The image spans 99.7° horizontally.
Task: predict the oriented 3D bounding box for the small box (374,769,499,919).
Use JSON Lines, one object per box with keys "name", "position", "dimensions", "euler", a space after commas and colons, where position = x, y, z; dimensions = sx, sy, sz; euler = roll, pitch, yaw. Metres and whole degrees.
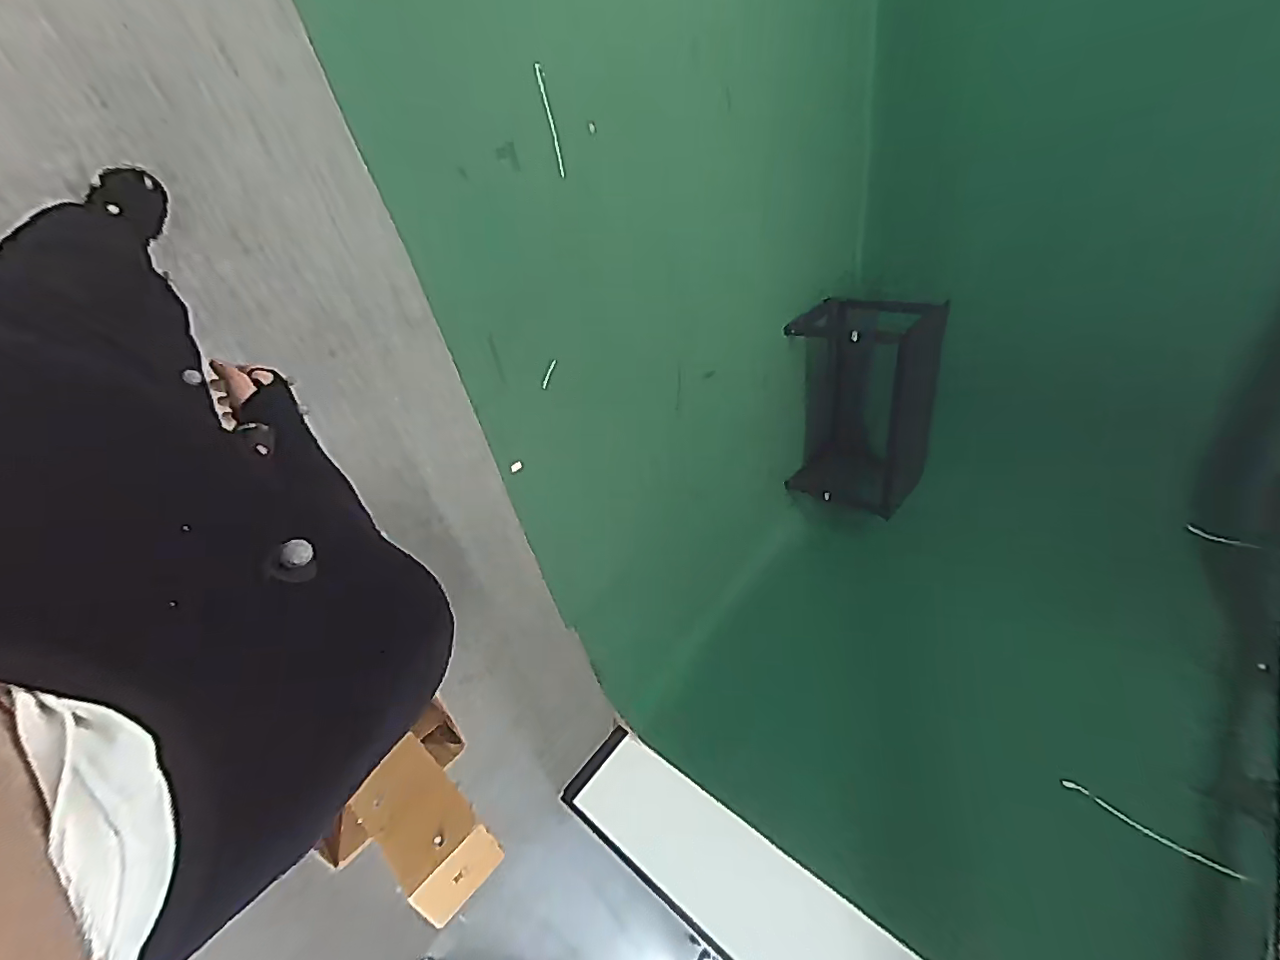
{"name": "small box", "position": [-0.443, 0.778, 1.168], "dimensions": [0.179, 0.176, 0.168], "euler": [-38, 133, -33]}
